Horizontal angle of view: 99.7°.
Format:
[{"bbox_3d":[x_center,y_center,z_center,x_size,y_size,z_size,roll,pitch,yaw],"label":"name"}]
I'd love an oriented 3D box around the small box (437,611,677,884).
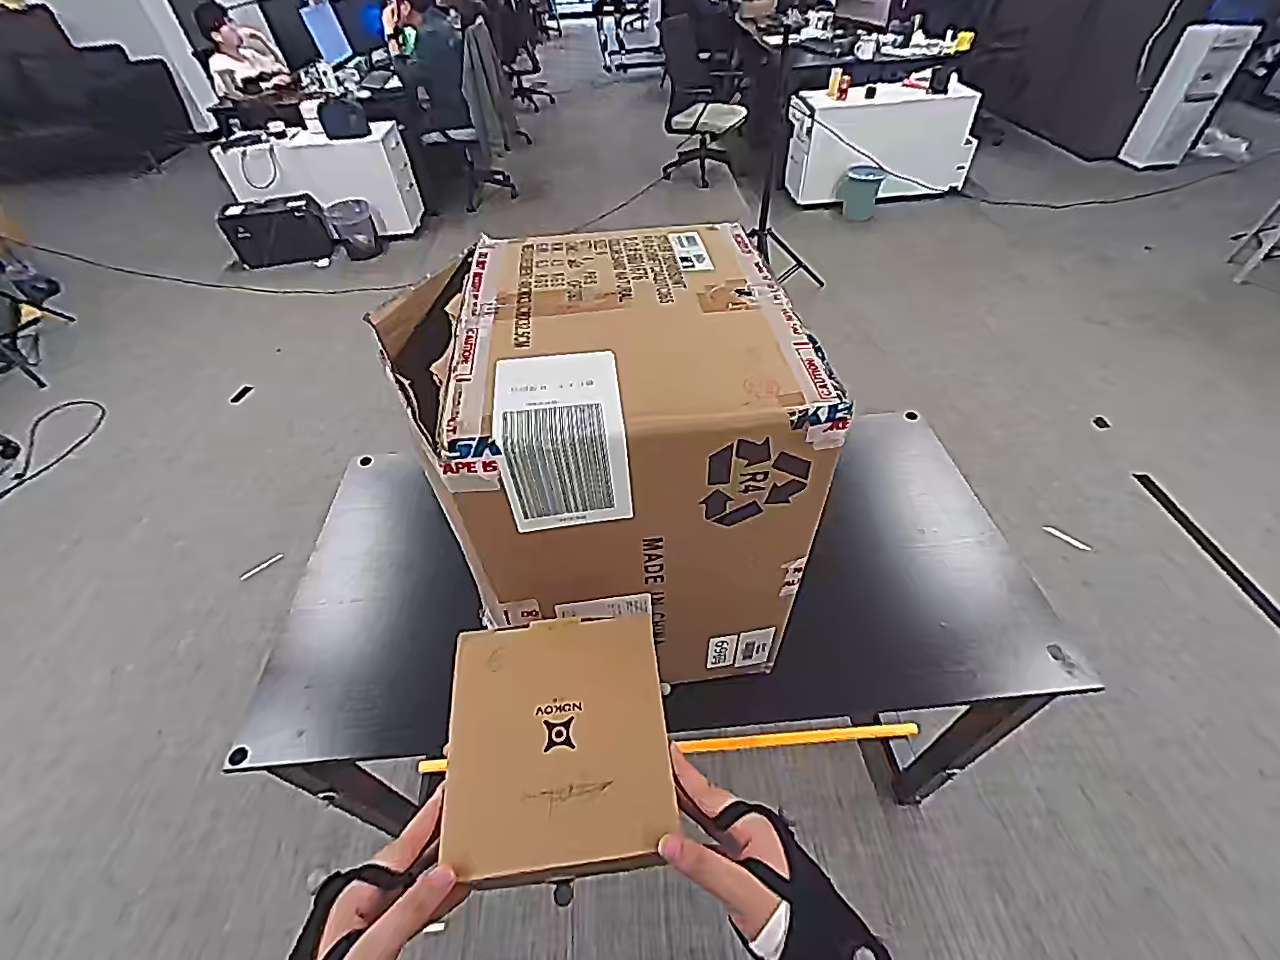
[{"bbox_3d":[-0.066,0.238,0.479,0.168,0.176,0.179,-5,52,-5],"label":"small box"}]
